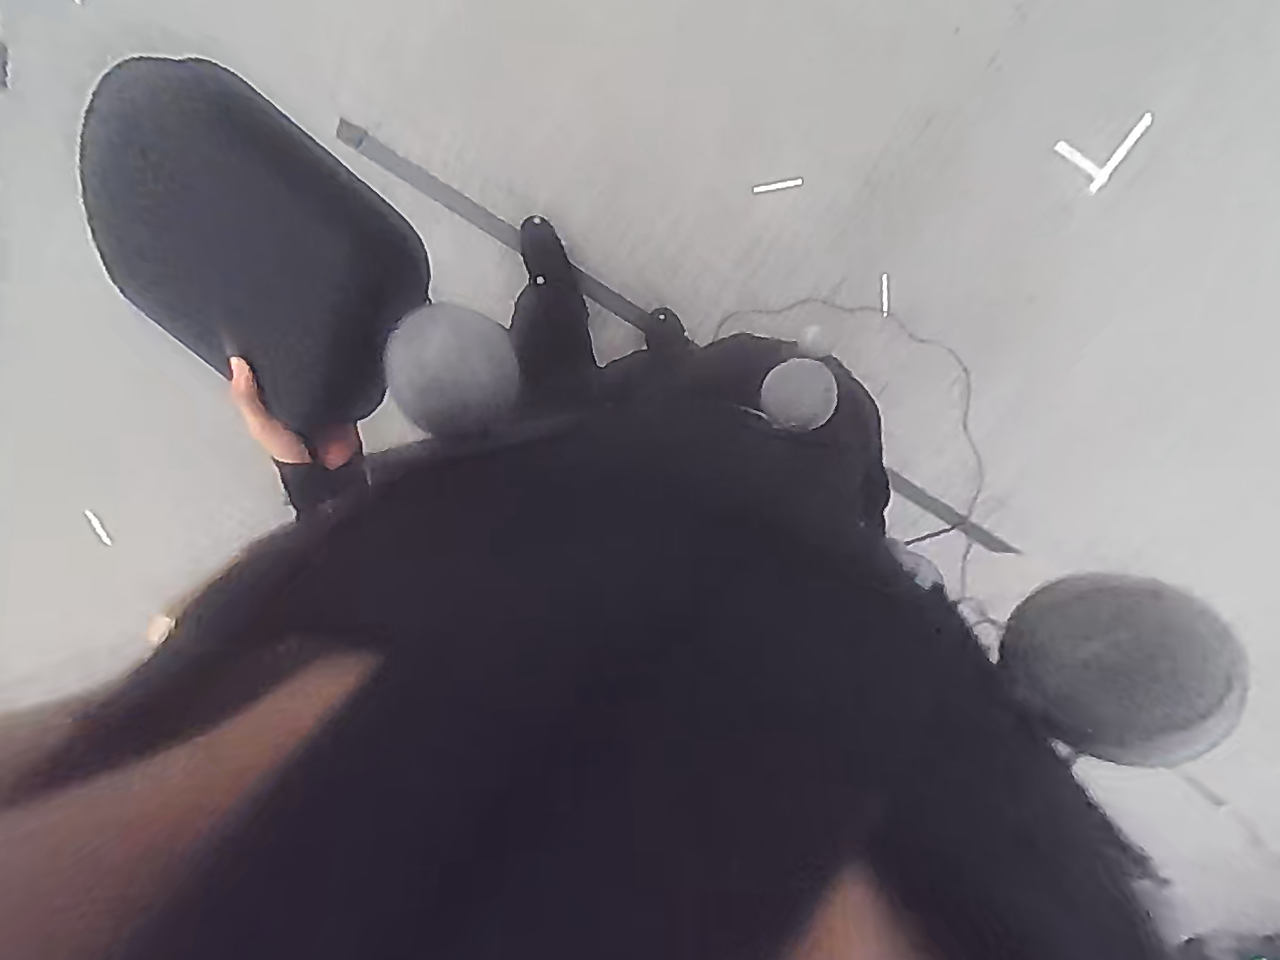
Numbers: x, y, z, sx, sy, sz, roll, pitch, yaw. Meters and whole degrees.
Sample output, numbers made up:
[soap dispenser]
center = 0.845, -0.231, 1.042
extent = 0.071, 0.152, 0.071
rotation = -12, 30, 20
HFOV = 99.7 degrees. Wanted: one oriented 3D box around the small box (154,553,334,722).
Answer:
[small box]
center = -0.649, 0.257, 0.903
extent = 0.168, 0.176, 0.179
rotation = 27, 113, -11
